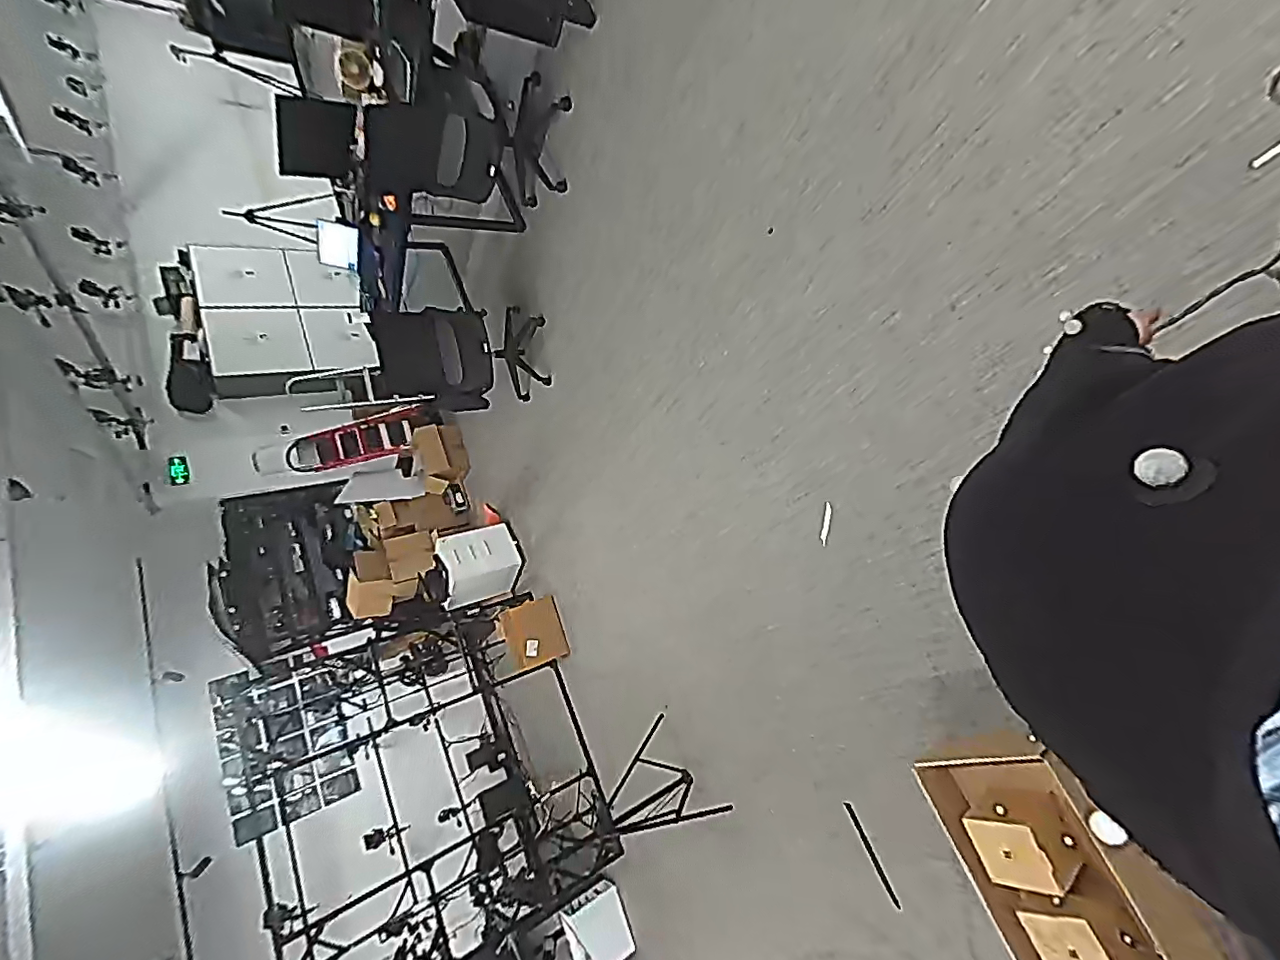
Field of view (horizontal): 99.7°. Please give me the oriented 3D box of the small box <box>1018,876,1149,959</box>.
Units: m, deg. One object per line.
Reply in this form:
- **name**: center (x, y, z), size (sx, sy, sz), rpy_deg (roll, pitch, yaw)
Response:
- **small box**: center (1.093, 1.107, 1.327), size (0.179, 0.176, 0.168), rpy_deg (-50, 58, 50)

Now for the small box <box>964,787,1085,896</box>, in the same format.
- **small box**: center (1.001, 0.927, 1.408), size (0.179, 0.176, 0.168), rpy_deg (-39, 68, 53)
